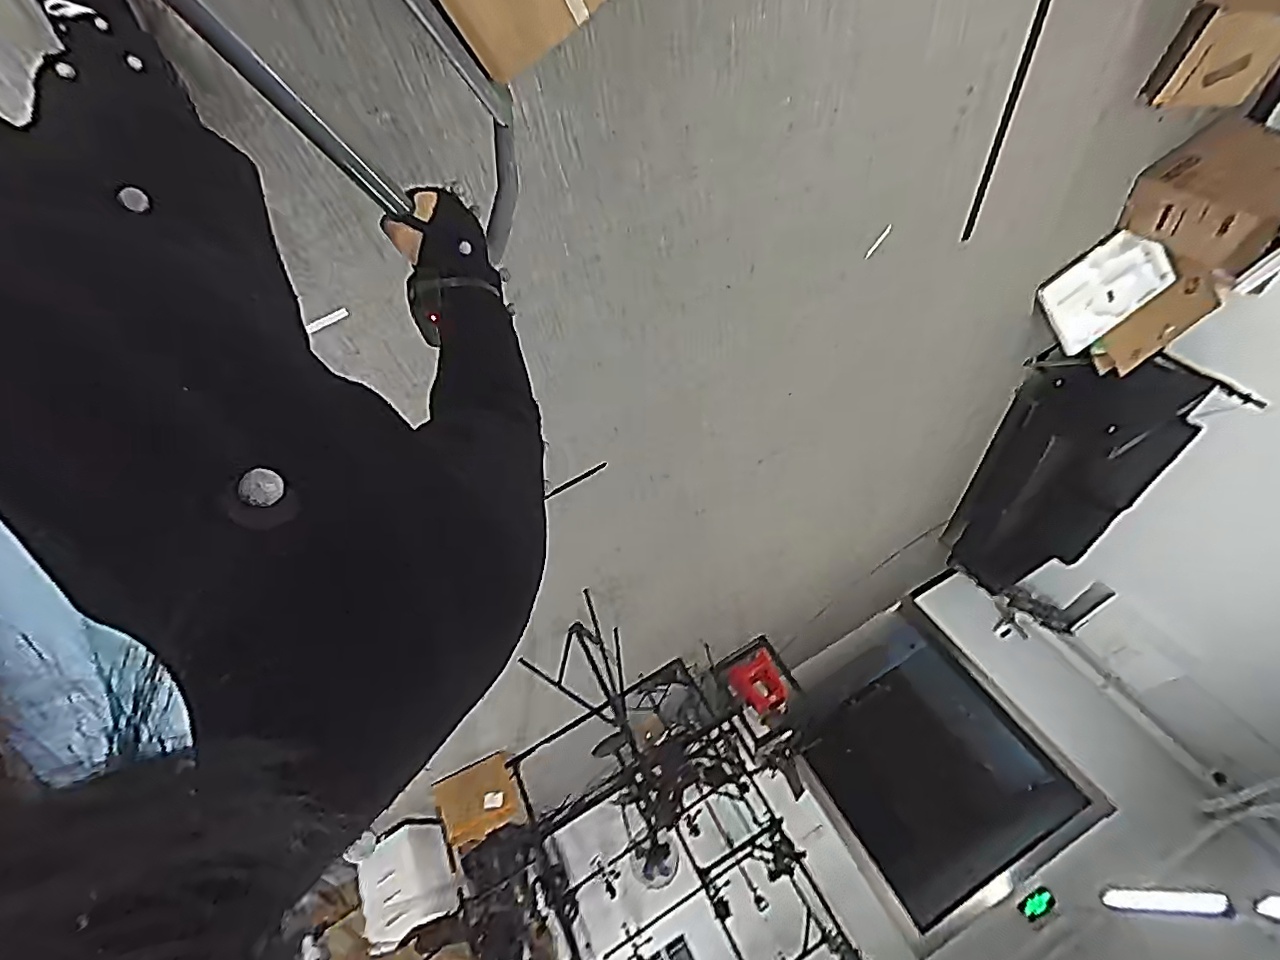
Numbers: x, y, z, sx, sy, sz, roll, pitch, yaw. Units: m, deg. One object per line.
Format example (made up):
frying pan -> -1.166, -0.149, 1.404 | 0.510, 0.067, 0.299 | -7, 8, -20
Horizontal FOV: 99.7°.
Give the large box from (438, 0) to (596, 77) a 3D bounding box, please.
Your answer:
large box -> -0.216, -0.867, 0.693 | 0.320, 0.320, 0.408 | -25, 148, 16
